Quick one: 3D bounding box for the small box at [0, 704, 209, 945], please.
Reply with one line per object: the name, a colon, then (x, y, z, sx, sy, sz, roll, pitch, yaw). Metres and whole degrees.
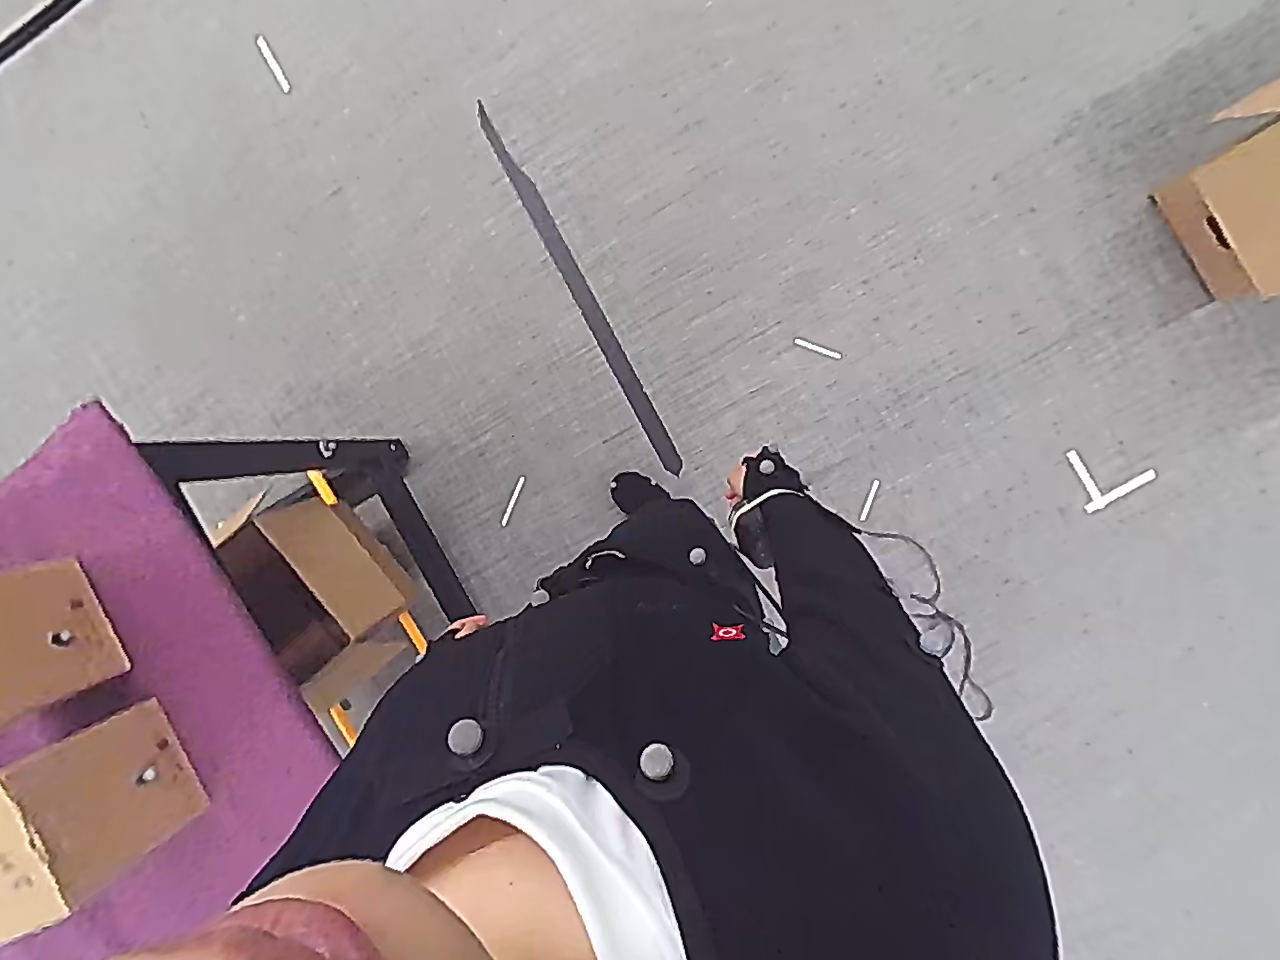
small box: (-0.686, 0.406, 0.651, 0.179, 0.176, 0.168, -25, 91, 7)

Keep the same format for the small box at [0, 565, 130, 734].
small box: (-0.788, 0.222, 0.647, 0.179, 0.176, 0.168, -25, 92, 7)
